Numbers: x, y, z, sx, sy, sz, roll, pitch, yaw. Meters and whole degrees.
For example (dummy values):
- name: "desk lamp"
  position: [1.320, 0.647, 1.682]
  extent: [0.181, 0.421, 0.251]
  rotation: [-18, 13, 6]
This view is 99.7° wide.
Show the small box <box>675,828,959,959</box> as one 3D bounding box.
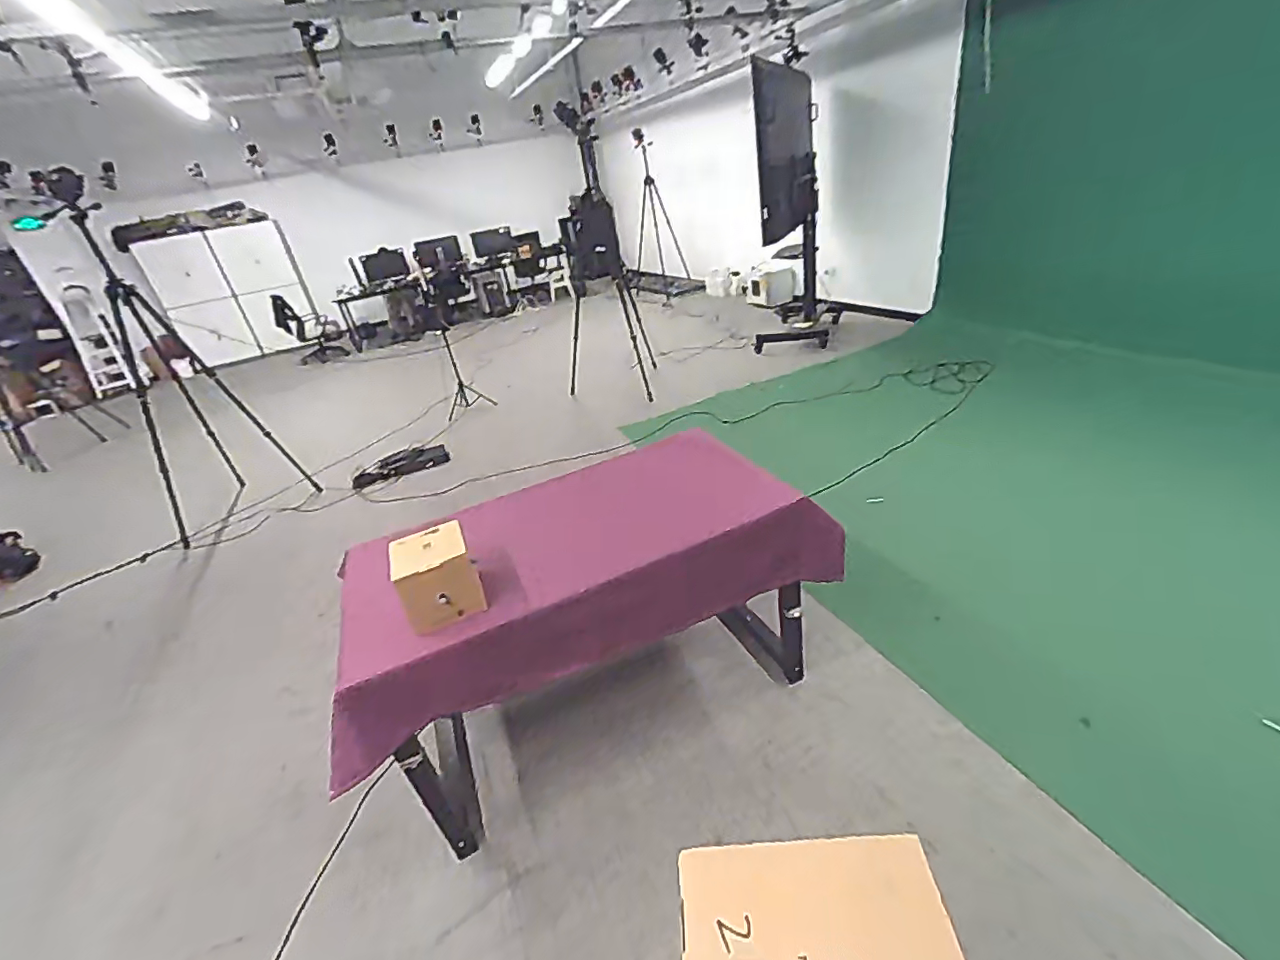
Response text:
- name: "small box"
  position: [0.124, 0.373, 0.378]
  extent: [0.179, 0.176, 0.168]
  rotation: [-9, 33, 7]

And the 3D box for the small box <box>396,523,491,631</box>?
- name: "small box"
  position: [-0.469, 0.236, 1.294]
  extent: [0.168, 0.176, 0.179]
  rotation: [-20, 30, -16]
